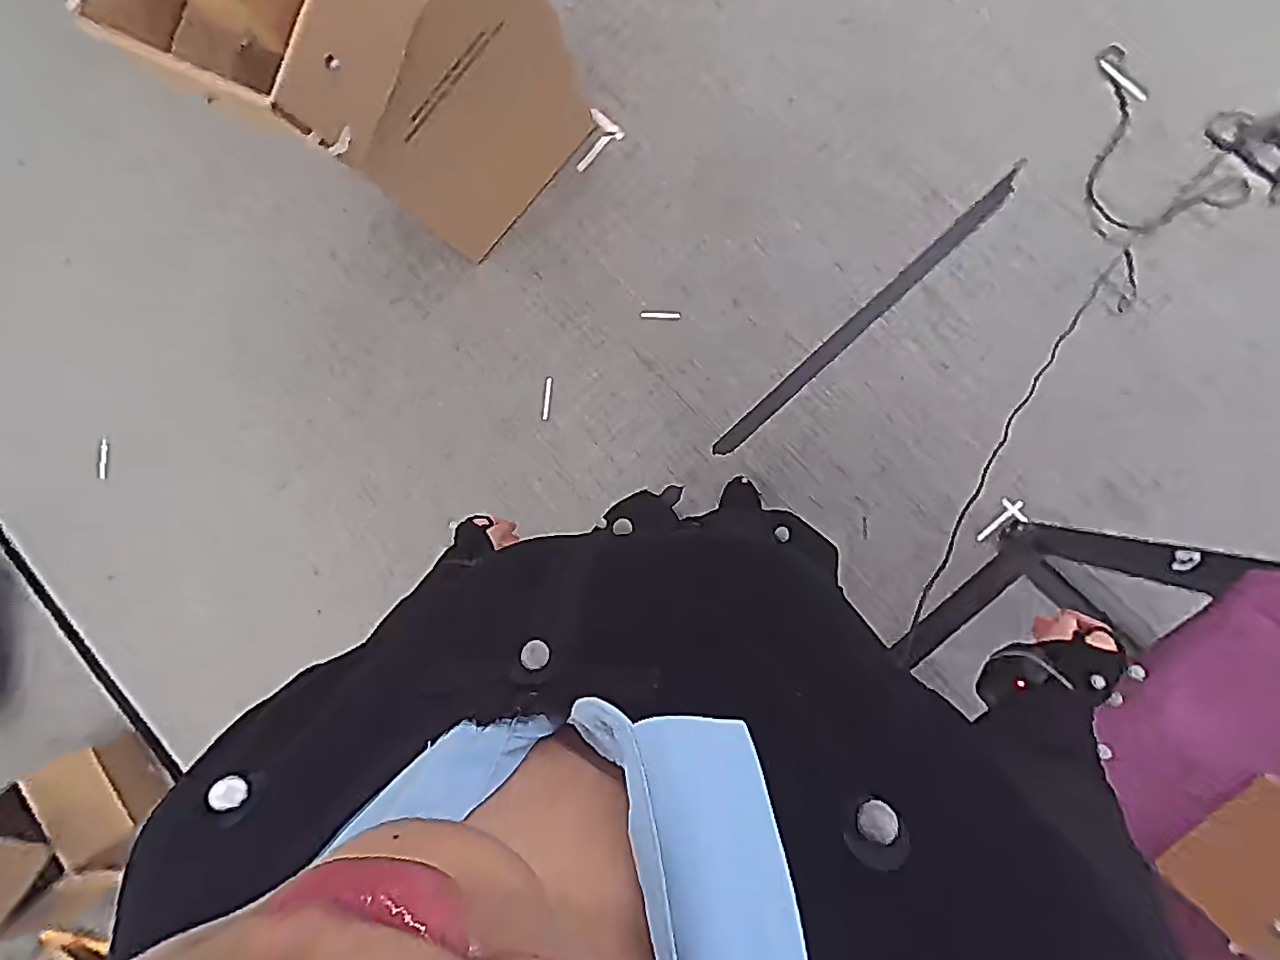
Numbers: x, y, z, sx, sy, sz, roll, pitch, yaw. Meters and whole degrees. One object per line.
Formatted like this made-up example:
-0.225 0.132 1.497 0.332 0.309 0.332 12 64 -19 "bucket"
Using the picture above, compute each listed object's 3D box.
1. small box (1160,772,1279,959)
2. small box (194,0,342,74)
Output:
0.734 0.458 0.572 0.168 0.176 0.179 43 98 6 "small box"
-0.604 -0.800 0.846 0.168 0.176 0.179 26 95 7 "small box"
